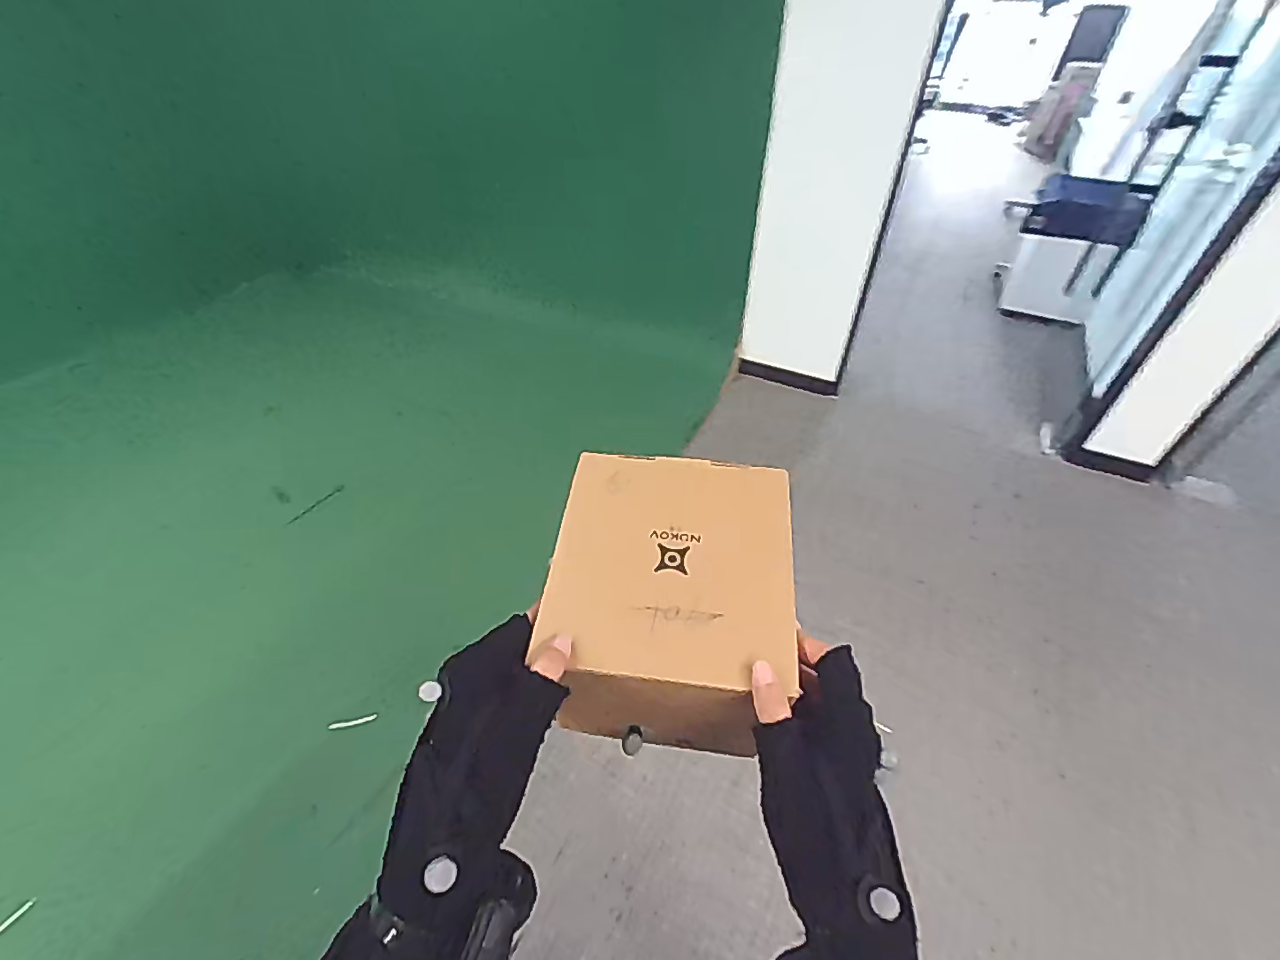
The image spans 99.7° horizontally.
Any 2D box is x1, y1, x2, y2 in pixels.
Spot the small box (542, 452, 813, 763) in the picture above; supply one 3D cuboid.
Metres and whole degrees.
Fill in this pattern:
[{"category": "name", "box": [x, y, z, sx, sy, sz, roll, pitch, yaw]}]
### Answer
[{"category": "small box", "box": [0.033, 0.104, 0.432, 0.168, 0.176, 0.179, 6, 53, 6]}]
